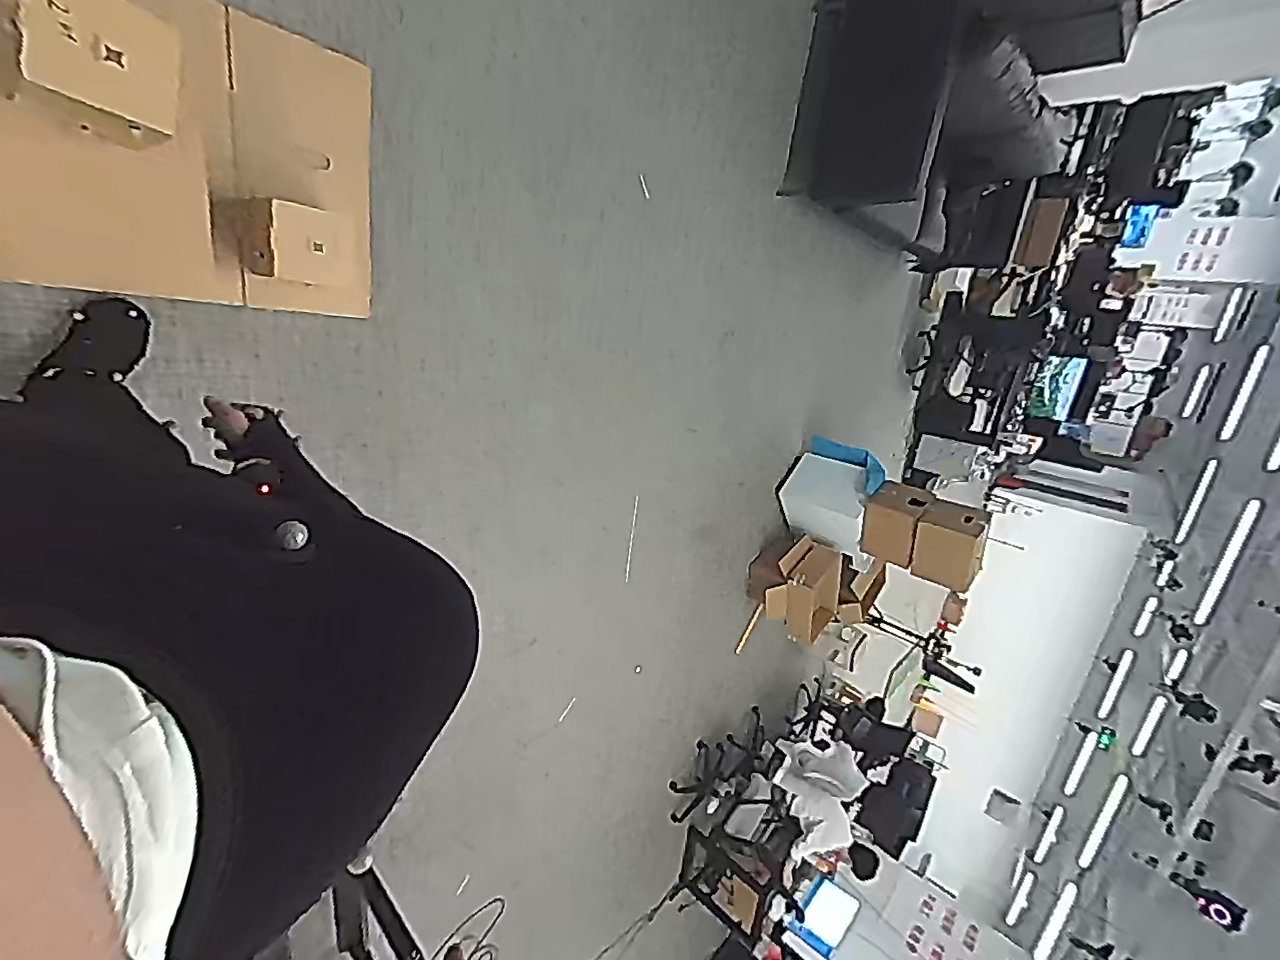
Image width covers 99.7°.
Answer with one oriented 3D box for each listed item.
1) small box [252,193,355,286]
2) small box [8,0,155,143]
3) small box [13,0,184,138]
[{"bbox_3d":[-0.800,-0.562,1.281,0.179,0.176,0.168,-8,113,-47],"label":"small box"},{"bbox_3d":[-0.994,-0.732,0.969,0.179,0.176,0.168,2,105,-50],"label":"small box"},{"bbox_3d":[-0.871,-0.678,0.871,0.179,0.176,0.168,2,105,-50],"label":"small box"}]
